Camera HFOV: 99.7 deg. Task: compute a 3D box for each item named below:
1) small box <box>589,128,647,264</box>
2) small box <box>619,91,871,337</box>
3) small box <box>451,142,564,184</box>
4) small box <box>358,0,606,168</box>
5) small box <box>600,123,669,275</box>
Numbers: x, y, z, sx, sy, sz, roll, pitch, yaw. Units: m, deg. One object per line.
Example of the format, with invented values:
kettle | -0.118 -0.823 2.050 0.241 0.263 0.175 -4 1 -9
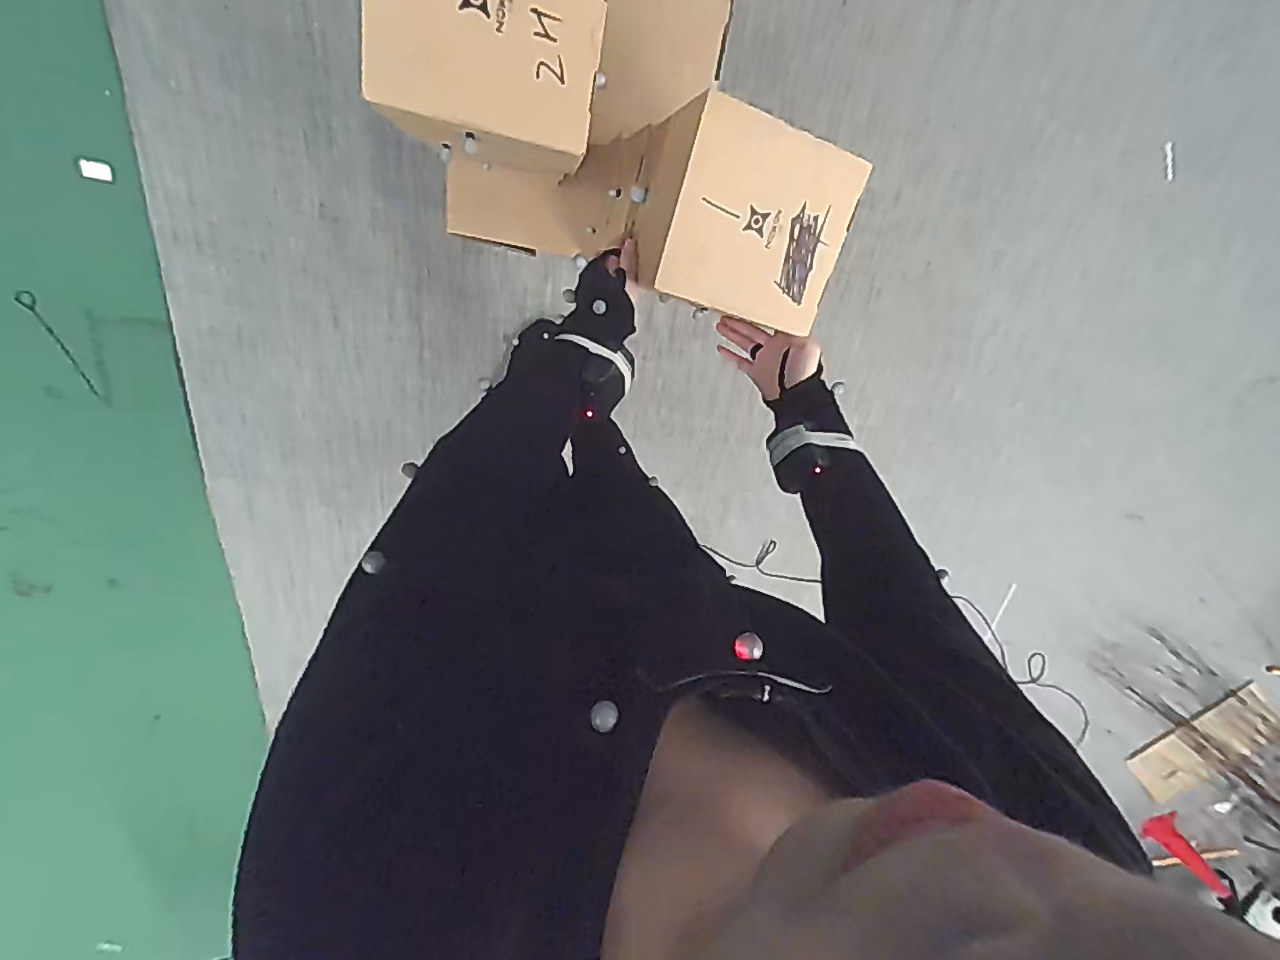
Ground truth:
small box | 0.019 -0.420 0.854 0.168 0.176 0.179 8 113 -16
small box | 0.093 -0.264 0.567 0.179 0.176 0.168 11 109 -19
small box | -0.177 -0.539 0.760 0.168 0.176 0.179 9 112 -14
small box | -0.126 -0.387 0.471 0.179 0.176 0.168 7 114 -13
small box | 0.057 -0.342 0.716 0.179 0.176 0.168 9 113 -16
